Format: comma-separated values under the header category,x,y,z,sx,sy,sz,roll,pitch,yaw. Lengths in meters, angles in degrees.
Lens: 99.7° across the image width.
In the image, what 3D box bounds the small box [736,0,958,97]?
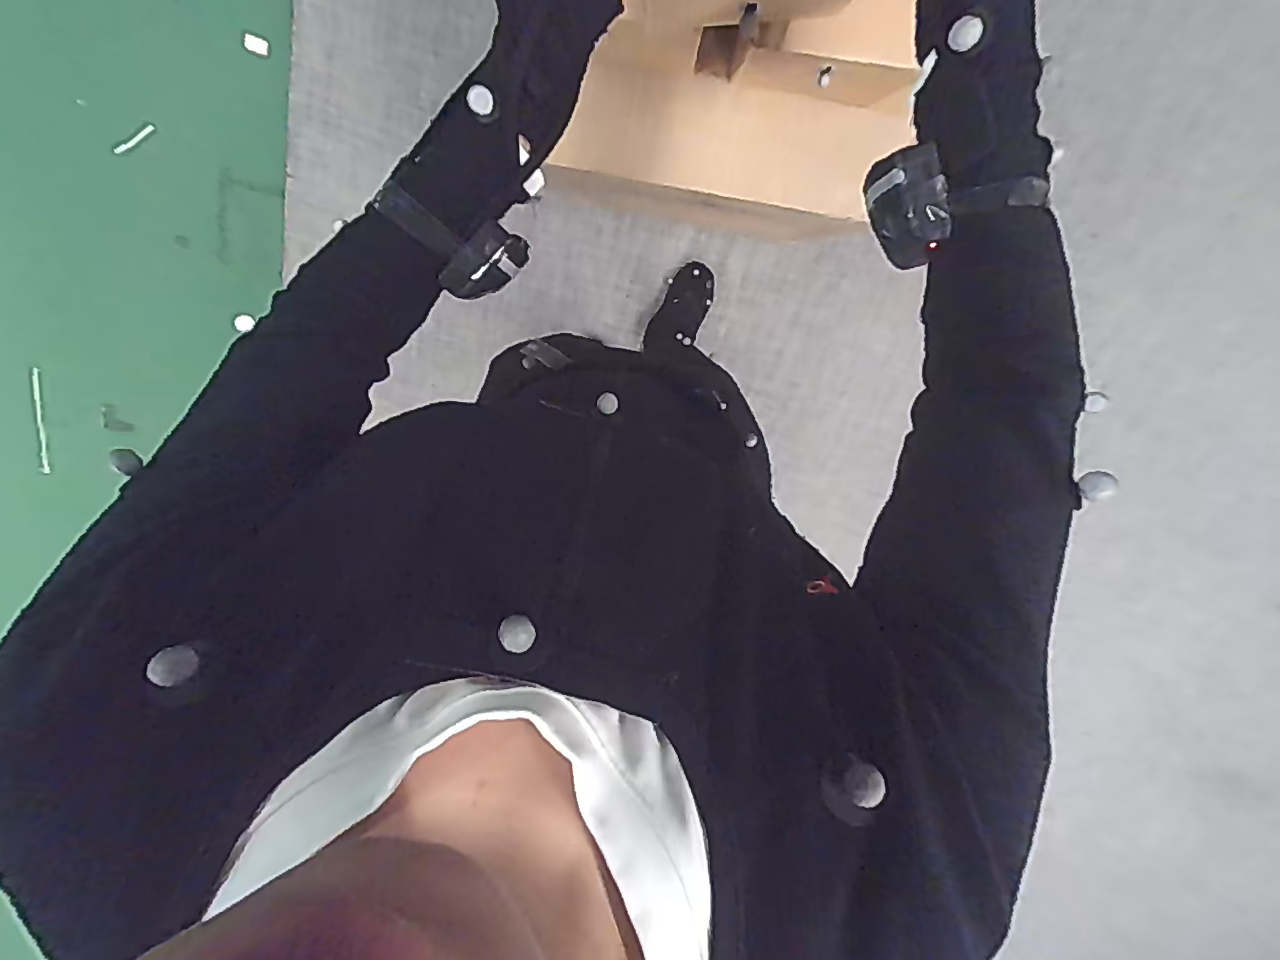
category,x,y,z,sx,sy,sz,roll,pitch,yaw
small box,0.198,-0.493,0.527,0.179,0.176,0.168,6,117,-2

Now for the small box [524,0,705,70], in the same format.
category,x,y,z,sx,sy,sz,roll,pitch,yaw
small box,-0.013,-0.523,0.522,0.179,0.176,0.168,8,116,-2

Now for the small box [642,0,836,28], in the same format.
category,x,y,z,sx,sy,sz,roll,pitch,yaw
small box,0.084,-0.445,0.373,0.179,0.176,0.168,-3,116,3
